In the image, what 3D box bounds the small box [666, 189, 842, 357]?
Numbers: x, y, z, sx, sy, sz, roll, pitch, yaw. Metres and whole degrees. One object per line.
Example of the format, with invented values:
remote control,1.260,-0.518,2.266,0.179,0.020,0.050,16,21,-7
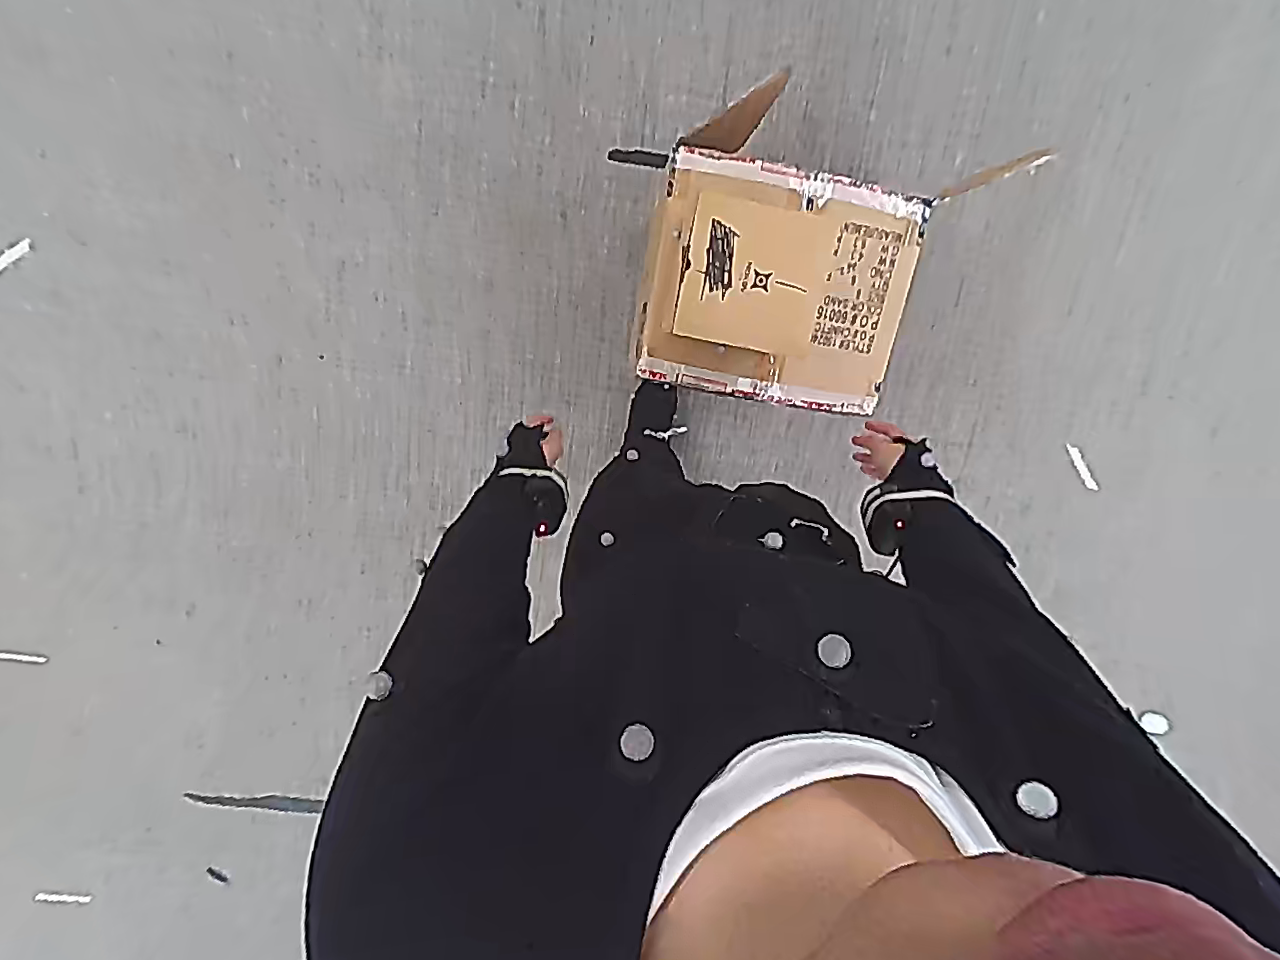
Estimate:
small box,0.136,-0.267,0.729,0.179,0.176,0.168,10,106,-5
